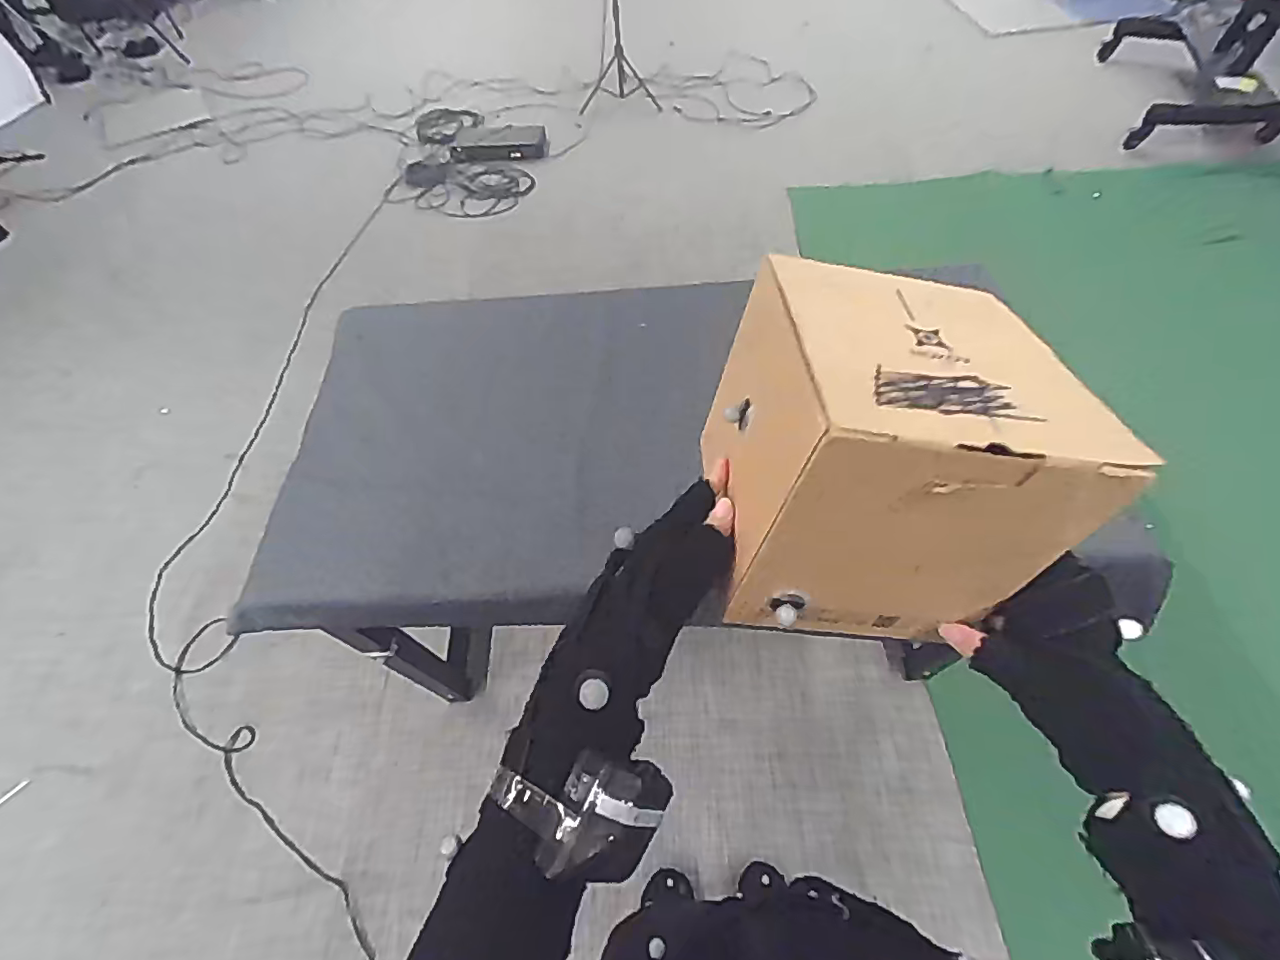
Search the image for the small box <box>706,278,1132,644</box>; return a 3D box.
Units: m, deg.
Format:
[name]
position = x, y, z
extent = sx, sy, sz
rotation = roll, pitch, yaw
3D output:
[small box]
position = 0.148, -0.008, 0.368
extent = 0.168, 0.176, 0.179
rotation = 8, 45, -7
